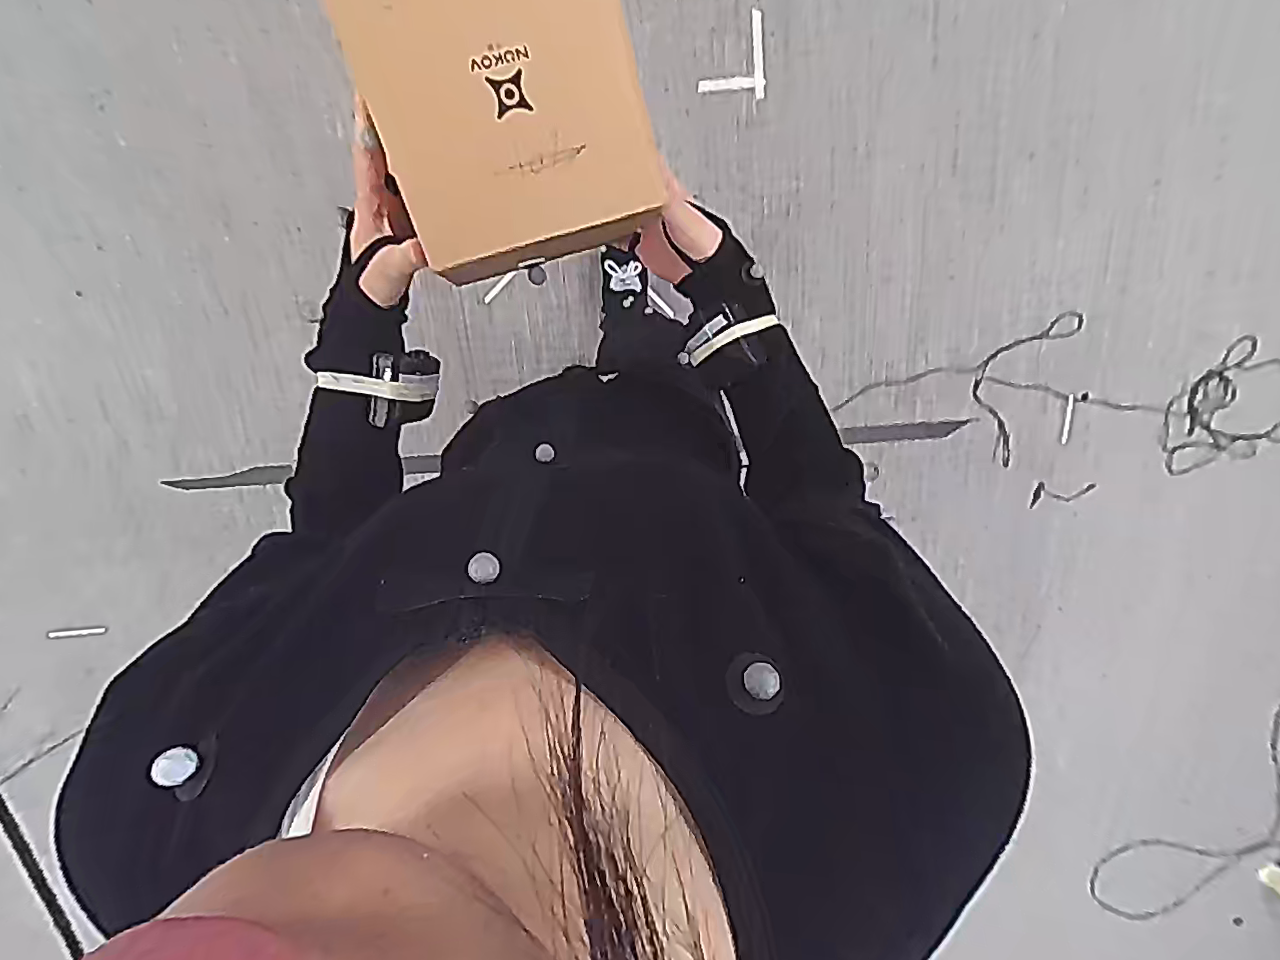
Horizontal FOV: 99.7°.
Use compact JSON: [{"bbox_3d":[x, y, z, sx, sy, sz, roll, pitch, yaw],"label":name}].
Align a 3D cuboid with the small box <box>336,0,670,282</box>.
[{"bbox_3d":[-0.095,-0.261,0.401,0.168,0.176,0.179,-19,109,-6],"label":"small box"}]
